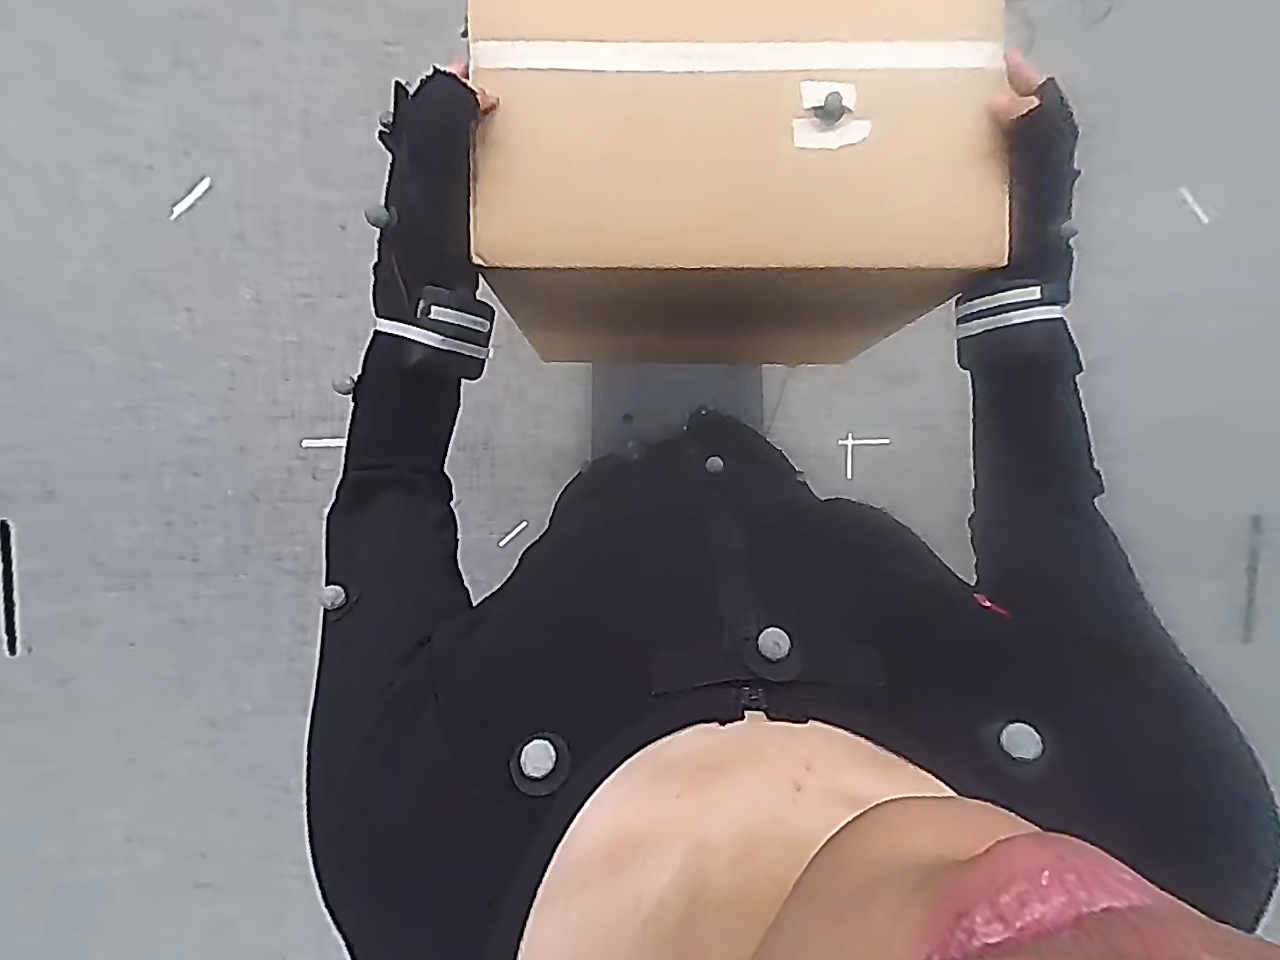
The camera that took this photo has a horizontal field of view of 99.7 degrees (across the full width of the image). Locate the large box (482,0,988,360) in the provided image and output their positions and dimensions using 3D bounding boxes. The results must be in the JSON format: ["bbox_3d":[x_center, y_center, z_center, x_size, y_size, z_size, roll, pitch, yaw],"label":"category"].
[{"bbox_3d":[0.070,-0.320,0.576,0.408,0.320,0.320,0,89,-1],"label":"large box"}]
